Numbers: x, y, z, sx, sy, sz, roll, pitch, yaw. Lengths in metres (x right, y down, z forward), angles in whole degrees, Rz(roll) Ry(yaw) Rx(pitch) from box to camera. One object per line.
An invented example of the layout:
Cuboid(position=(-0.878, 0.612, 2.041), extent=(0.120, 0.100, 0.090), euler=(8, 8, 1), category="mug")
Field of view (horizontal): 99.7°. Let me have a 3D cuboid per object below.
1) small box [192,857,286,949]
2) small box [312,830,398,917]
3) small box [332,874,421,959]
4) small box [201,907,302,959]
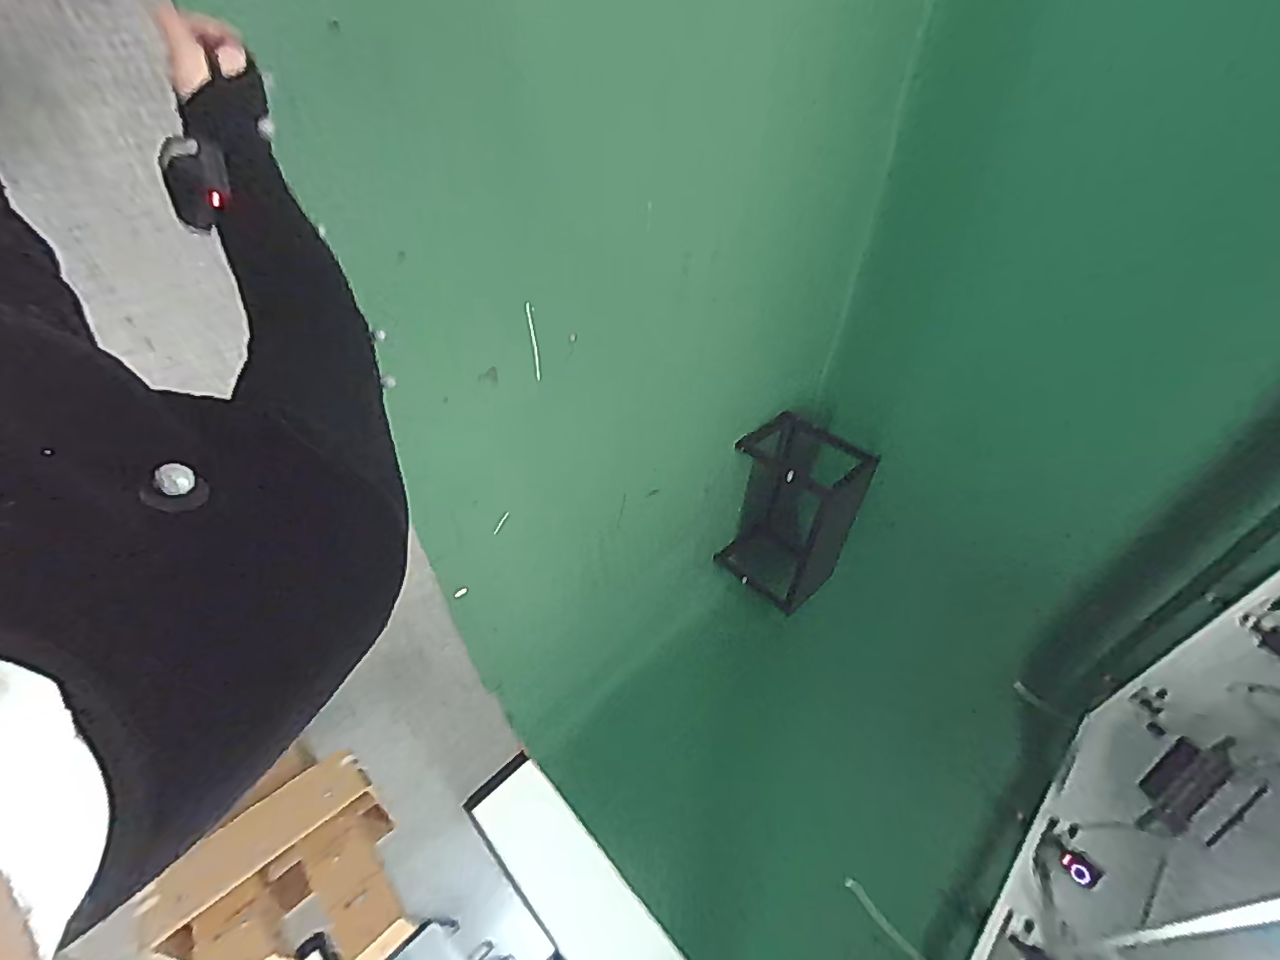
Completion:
Cuboid(position=(-1.231, 1.312, 1.663), extent=(0.168, 0.176, 0.179), euler=(-29, 139, -34), category="small box")
Cuboid(position=(-0.908, 1.266, 1.727), extent=(0.168, 0.176, 0.179), euler=(-33, 142, -31), category="small box")
Cuboid(position=(-0.796, 1.345, 1.638), extent=(0.168, 0.176, 0.179), euler=(-33, 142, -32), category="small box")
Cuboid(position=(-1.123, 1.390, 1.566), extent=(0.168, 0.176, 0.179), euler=(-32, 141, -30), category="small box")
